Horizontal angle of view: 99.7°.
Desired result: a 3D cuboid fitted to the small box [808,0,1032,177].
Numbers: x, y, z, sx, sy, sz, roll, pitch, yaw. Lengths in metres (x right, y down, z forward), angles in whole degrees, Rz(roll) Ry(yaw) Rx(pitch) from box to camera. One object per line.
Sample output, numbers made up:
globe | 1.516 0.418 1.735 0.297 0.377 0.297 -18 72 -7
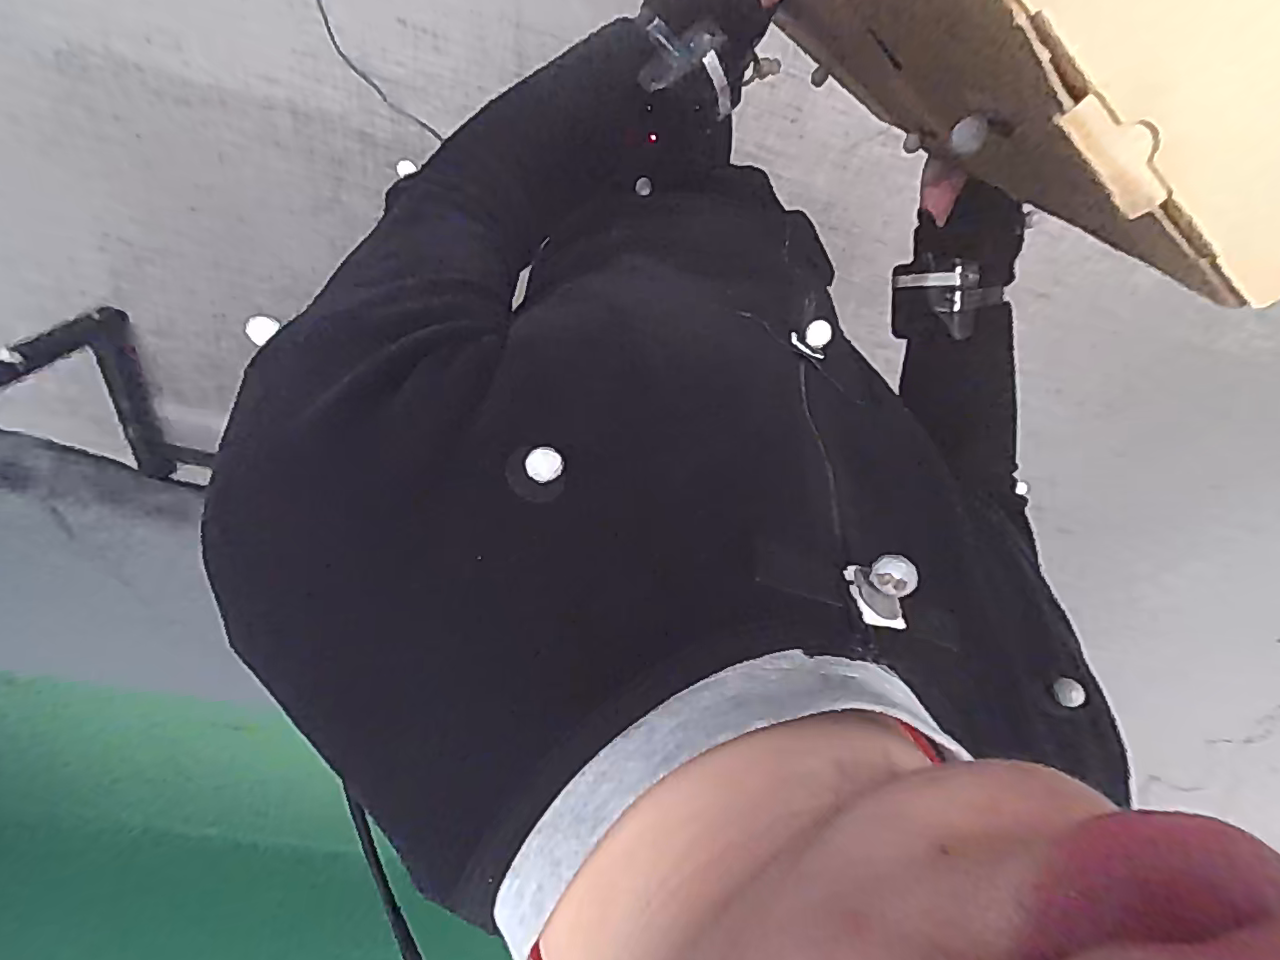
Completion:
small box | 0.207 -0.308 0.291 0.168 0.176 0.179 29 125 -18

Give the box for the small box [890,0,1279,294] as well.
small box | 0.197 -0.202 0.167 0.168 0.176 0.179 31 127 -20

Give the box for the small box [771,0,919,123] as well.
small box | 0.220 -0.414 0.411 0.168 0.176 0.179 29 126 -18
